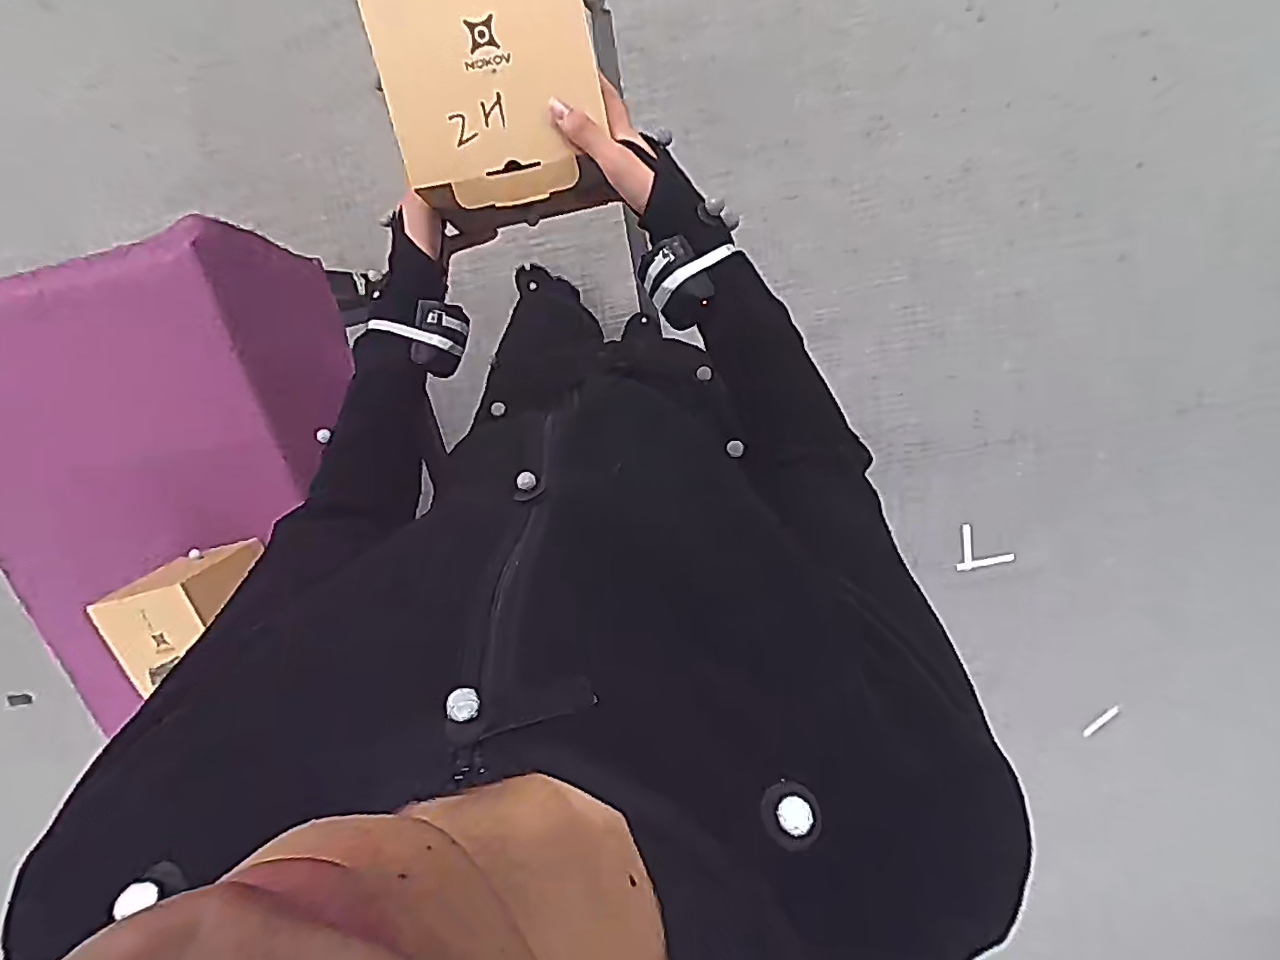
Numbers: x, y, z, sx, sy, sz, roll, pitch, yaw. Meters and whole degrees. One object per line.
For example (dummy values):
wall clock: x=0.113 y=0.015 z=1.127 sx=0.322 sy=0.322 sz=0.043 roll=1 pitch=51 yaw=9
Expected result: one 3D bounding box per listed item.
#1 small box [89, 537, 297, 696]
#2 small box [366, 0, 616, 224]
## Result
small box: x=-0.720 y=0.220 z=0.897 sx=0.168 sy=0.176 sz=0.179 roll=-14 pitch=107 yaw=7
small box: x=-0.120 y=-0.351 z=0.480 sx=0.168 sy=0.176 sz=0.179 roll=-12 pitch=104 yaw=-1
